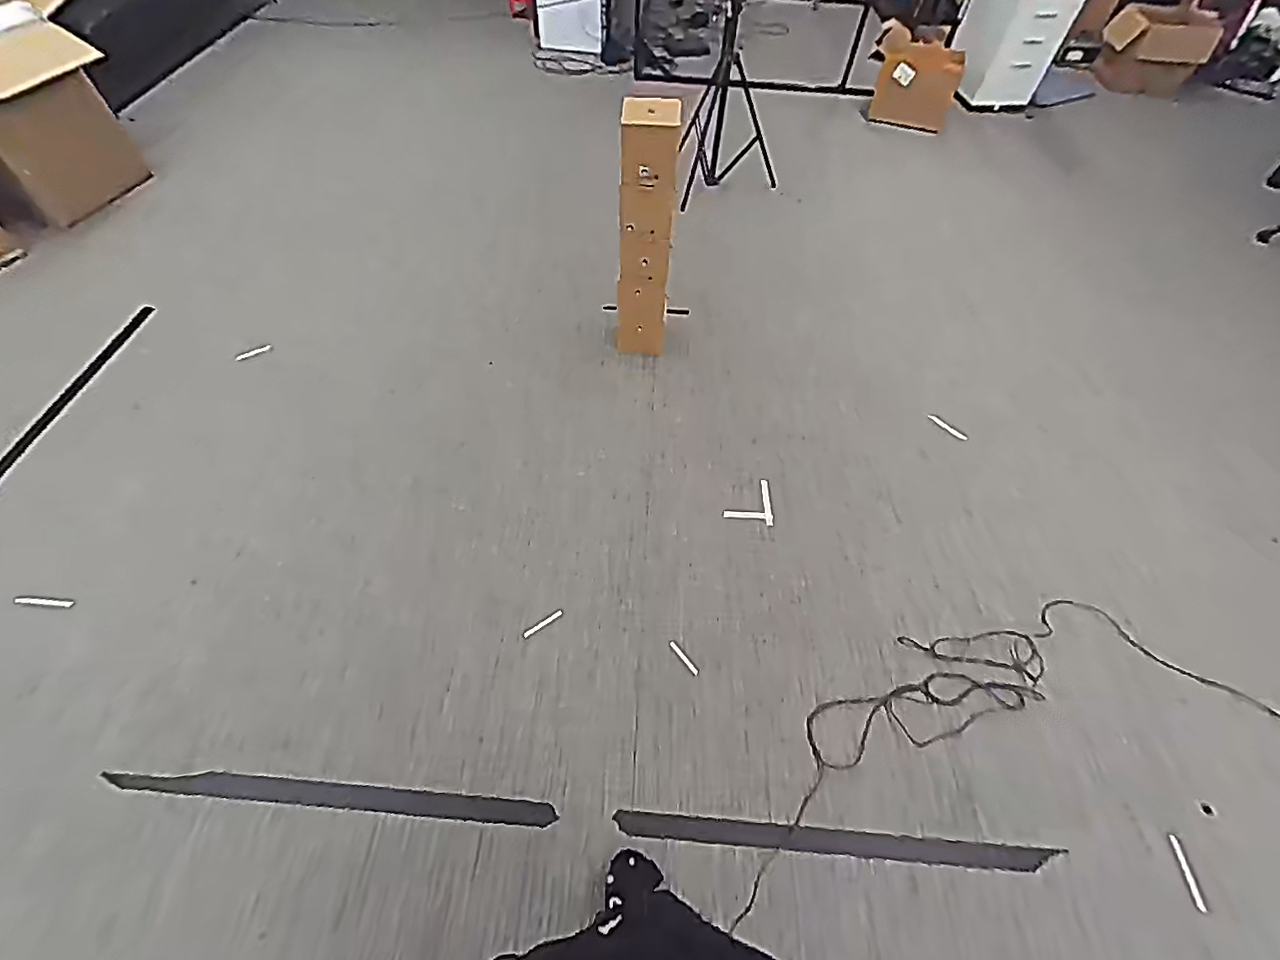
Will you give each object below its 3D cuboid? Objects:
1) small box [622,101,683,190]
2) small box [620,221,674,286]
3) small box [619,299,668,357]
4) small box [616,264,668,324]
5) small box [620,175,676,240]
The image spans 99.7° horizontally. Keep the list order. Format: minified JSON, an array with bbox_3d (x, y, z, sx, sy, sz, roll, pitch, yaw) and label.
[{"bbox_3d":[0.035,-0.975,1.580,0.168,0.176,0.179,2,56,1],"label":"small box"},{"bbox_3d":[0.025,-0.786,1.846,0.168,0.176,0.179,5,56,1],"label":"small box"},{"bbox_3d":[0.013,-0.599,2.114,0.179,0.176,0.168,4,55,0],"label":"small box"},{"bbox_3d":[0.011,-0.691,1.978,0.179,0.176,0.168,6,56,2],"label":"small box"},{"bbox_3d":[0.028,-0.882,1.712,0.168,0.176,0.179,4,54,1],"label":"small box"}]
